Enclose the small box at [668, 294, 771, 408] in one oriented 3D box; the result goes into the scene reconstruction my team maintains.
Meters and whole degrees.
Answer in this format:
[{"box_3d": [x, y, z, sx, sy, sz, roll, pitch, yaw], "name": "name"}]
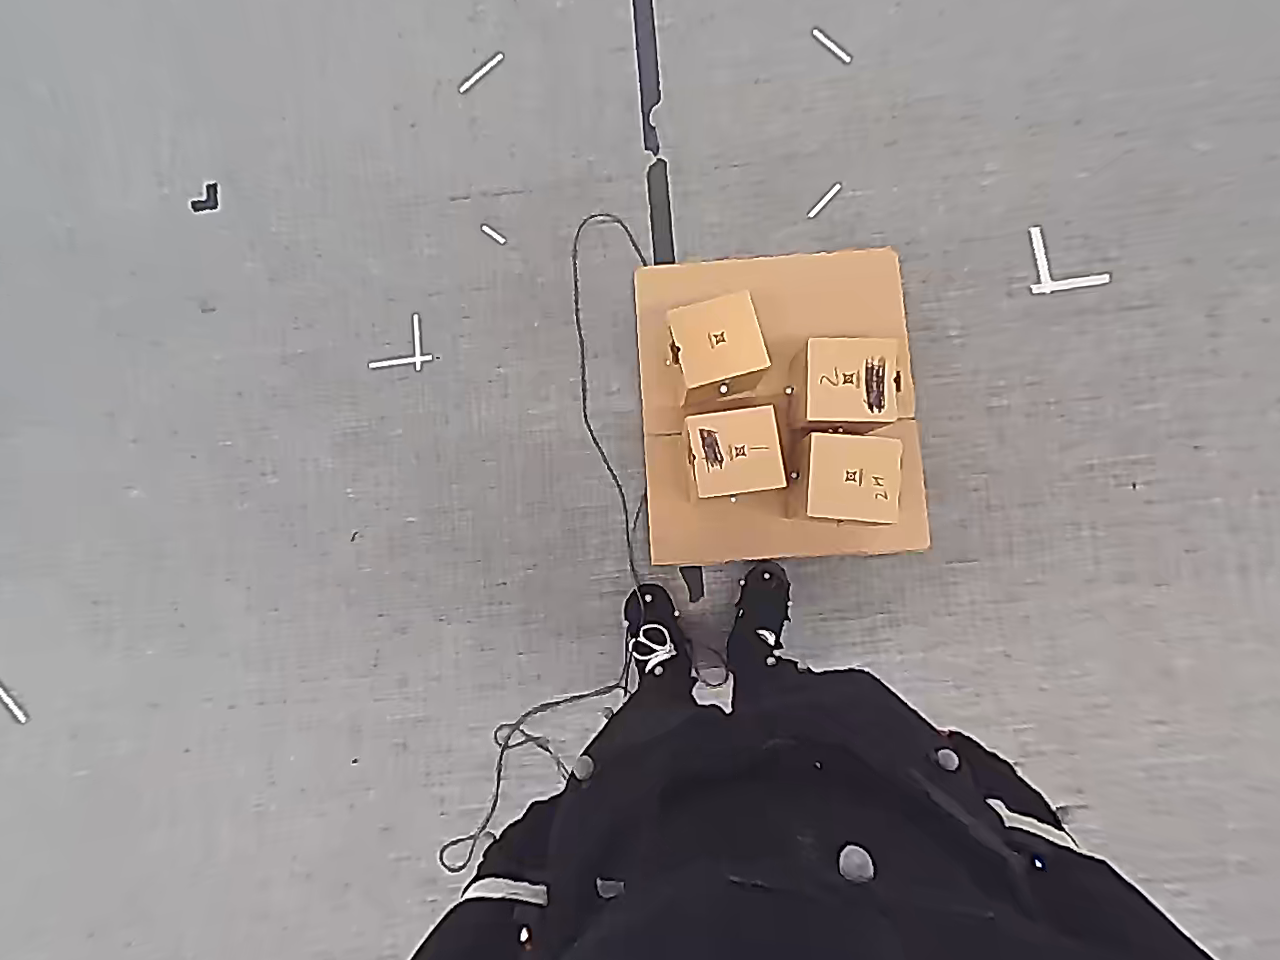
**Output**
[{"box_3d": [0.161, -0.269, 1.159, 0.179, 0.176, 0.168, -15, 83, 2], "name": "small box"}]
